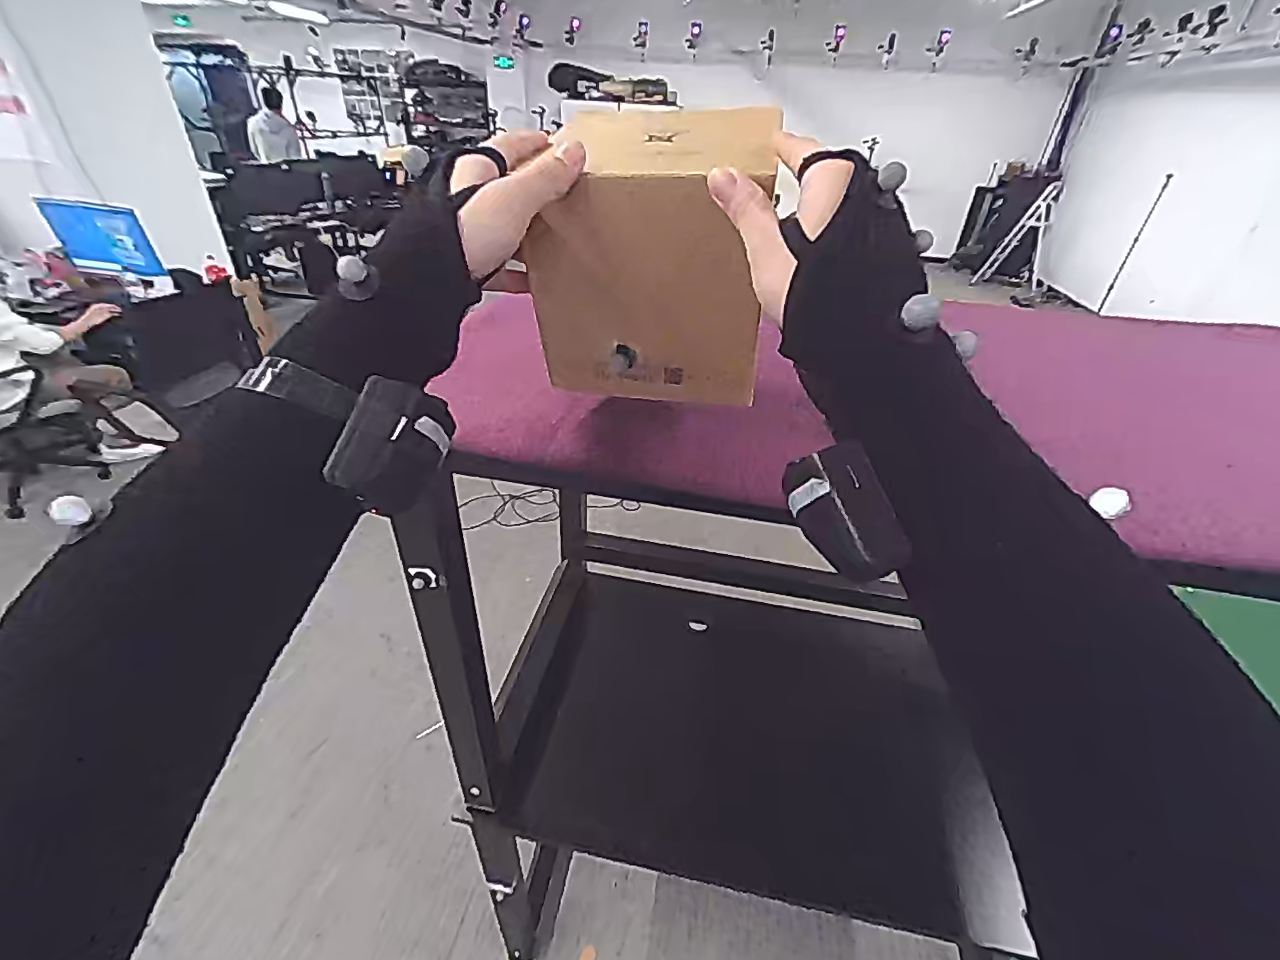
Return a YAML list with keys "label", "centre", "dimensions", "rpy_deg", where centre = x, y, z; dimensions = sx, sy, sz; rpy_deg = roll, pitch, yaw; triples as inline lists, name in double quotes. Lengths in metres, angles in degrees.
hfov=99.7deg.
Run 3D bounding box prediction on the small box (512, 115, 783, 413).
- label: "small box"
  centre: [0.018, -0.178, 0.439]
  dimensions: [0.168, 0.176, 0.179]
  rpy_deg: [7, 46, 11]
